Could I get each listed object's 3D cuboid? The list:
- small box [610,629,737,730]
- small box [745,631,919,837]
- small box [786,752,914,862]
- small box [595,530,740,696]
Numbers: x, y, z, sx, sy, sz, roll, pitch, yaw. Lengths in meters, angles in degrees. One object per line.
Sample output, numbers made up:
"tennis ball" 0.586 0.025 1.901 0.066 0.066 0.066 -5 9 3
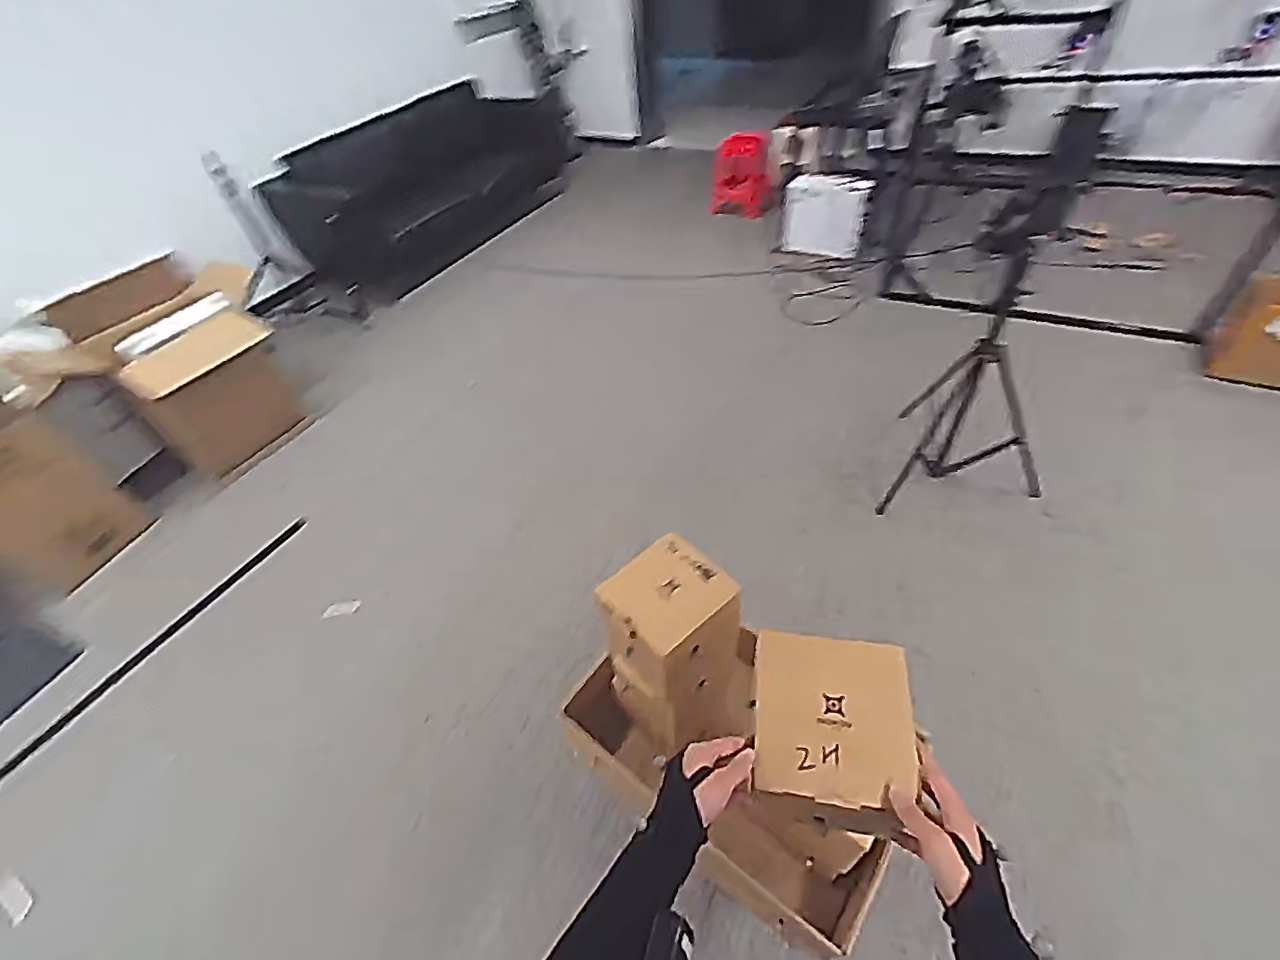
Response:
"small box" 0.068 0.337 1.033 0.179 0.176 0.168 -36 52 -27
"small box" 0.215 0.306 0.651 0.168 0.176 0.179 3 52 12
"small box" 0.303 0.475 0.871 0.179 0.176 0.168 29 55 31
"small box" 0.052 0.226 0.912 0.179 0.176 0.168 -34 51 -23
